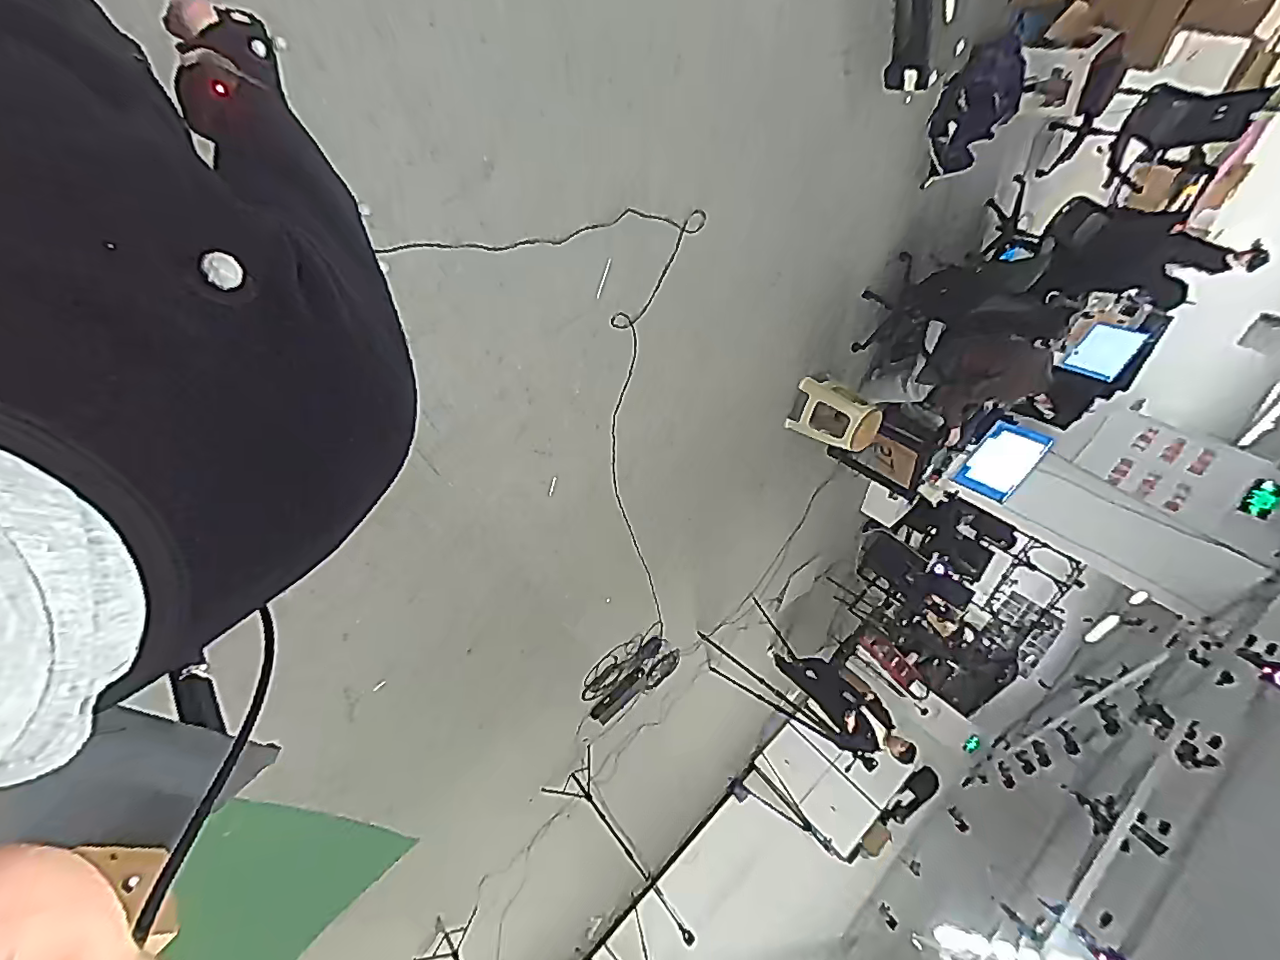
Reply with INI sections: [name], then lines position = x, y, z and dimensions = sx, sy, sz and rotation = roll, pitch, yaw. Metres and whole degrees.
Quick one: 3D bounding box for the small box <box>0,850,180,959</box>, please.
[small box]
position = -0.951, 0.768, 0.919
dimensions = 0.179, 0.176, 0.168
rotation = -44, 145, -14
